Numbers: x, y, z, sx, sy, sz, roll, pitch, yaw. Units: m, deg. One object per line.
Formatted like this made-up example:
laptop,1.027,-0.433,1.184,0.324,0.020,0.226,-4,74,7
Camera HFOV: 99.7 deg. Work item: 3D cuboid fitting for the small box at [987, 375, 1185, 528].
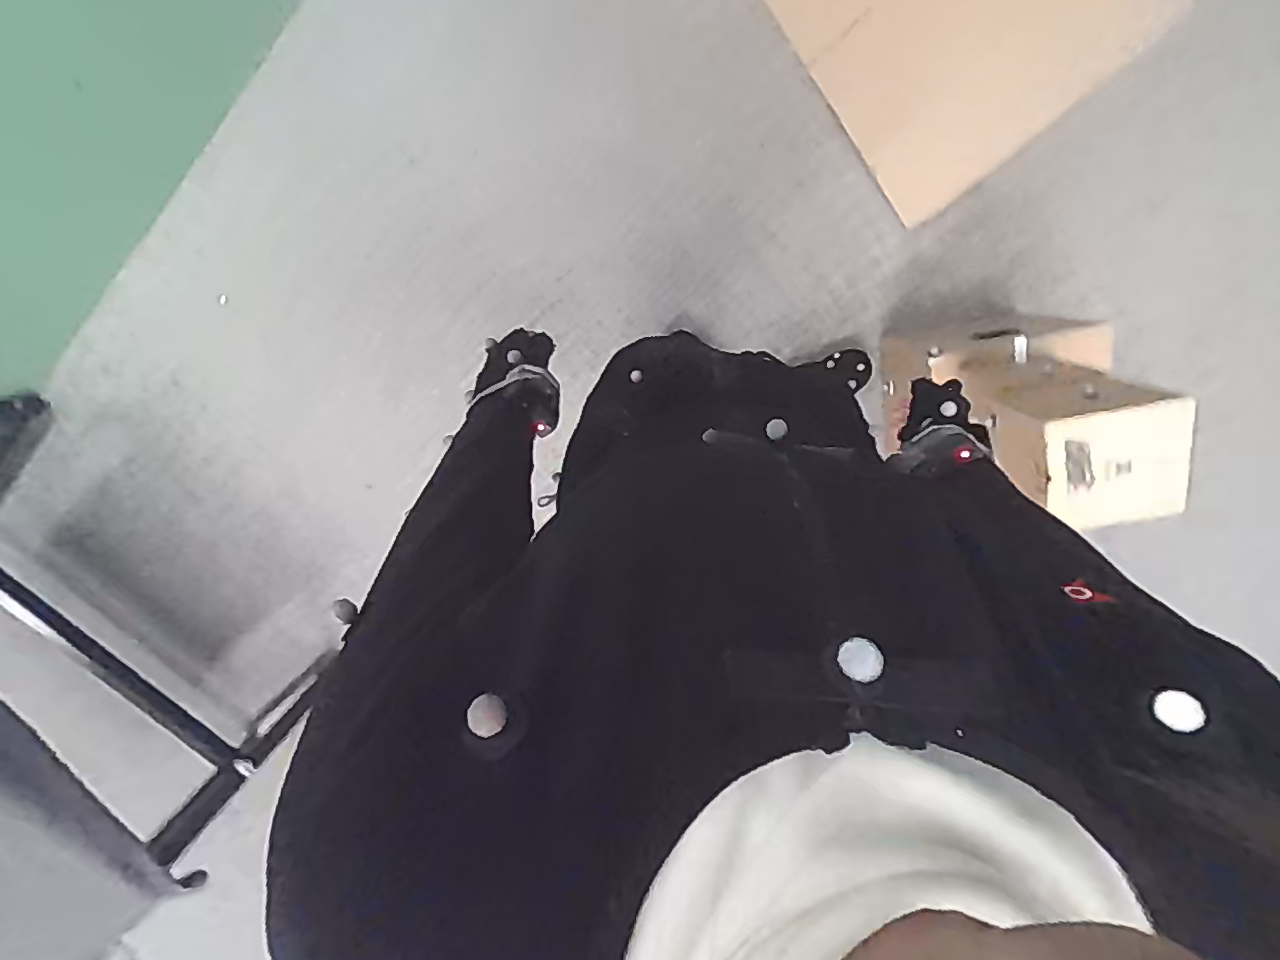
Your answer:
small box,0.642,-0.048,0.802,0.179,0.176,0.168,-12,108,13

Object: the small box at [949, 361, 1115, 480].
small box,0.675,-0.110,0.953,0.179,0.176,0.168,-5,109,10
